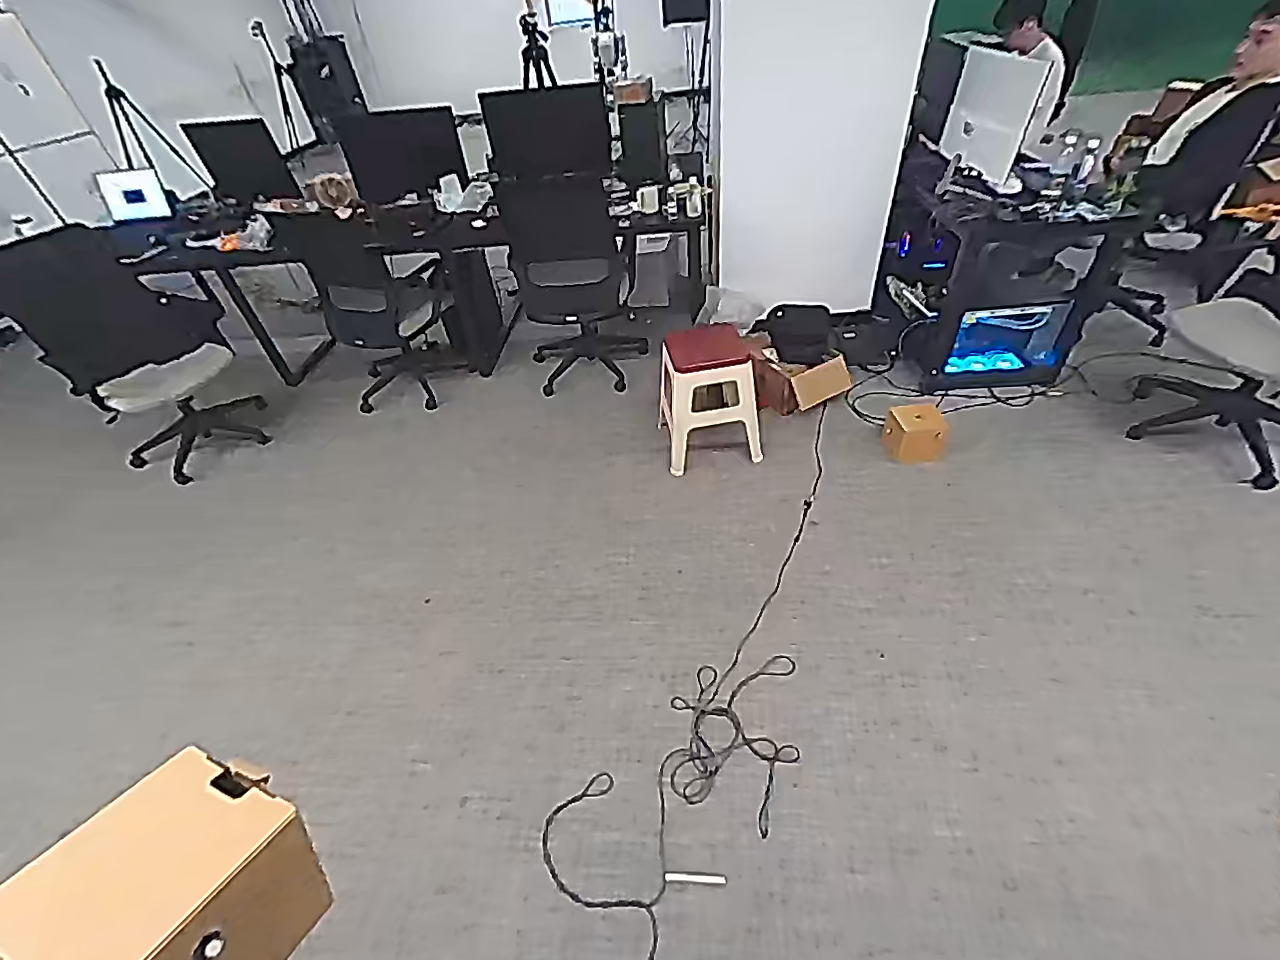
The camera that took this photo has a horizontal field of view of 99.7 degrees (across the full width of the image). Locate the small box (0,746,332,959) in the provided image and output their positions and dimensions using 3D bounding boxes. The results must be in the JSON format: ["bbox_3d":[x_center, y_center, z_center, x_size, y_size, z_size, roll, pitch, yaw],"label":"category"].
[{"bbox_3d":[-0.433,0.404,0.512,0.168,0.176,0.179,13,29,19],"label":"small box"}]
